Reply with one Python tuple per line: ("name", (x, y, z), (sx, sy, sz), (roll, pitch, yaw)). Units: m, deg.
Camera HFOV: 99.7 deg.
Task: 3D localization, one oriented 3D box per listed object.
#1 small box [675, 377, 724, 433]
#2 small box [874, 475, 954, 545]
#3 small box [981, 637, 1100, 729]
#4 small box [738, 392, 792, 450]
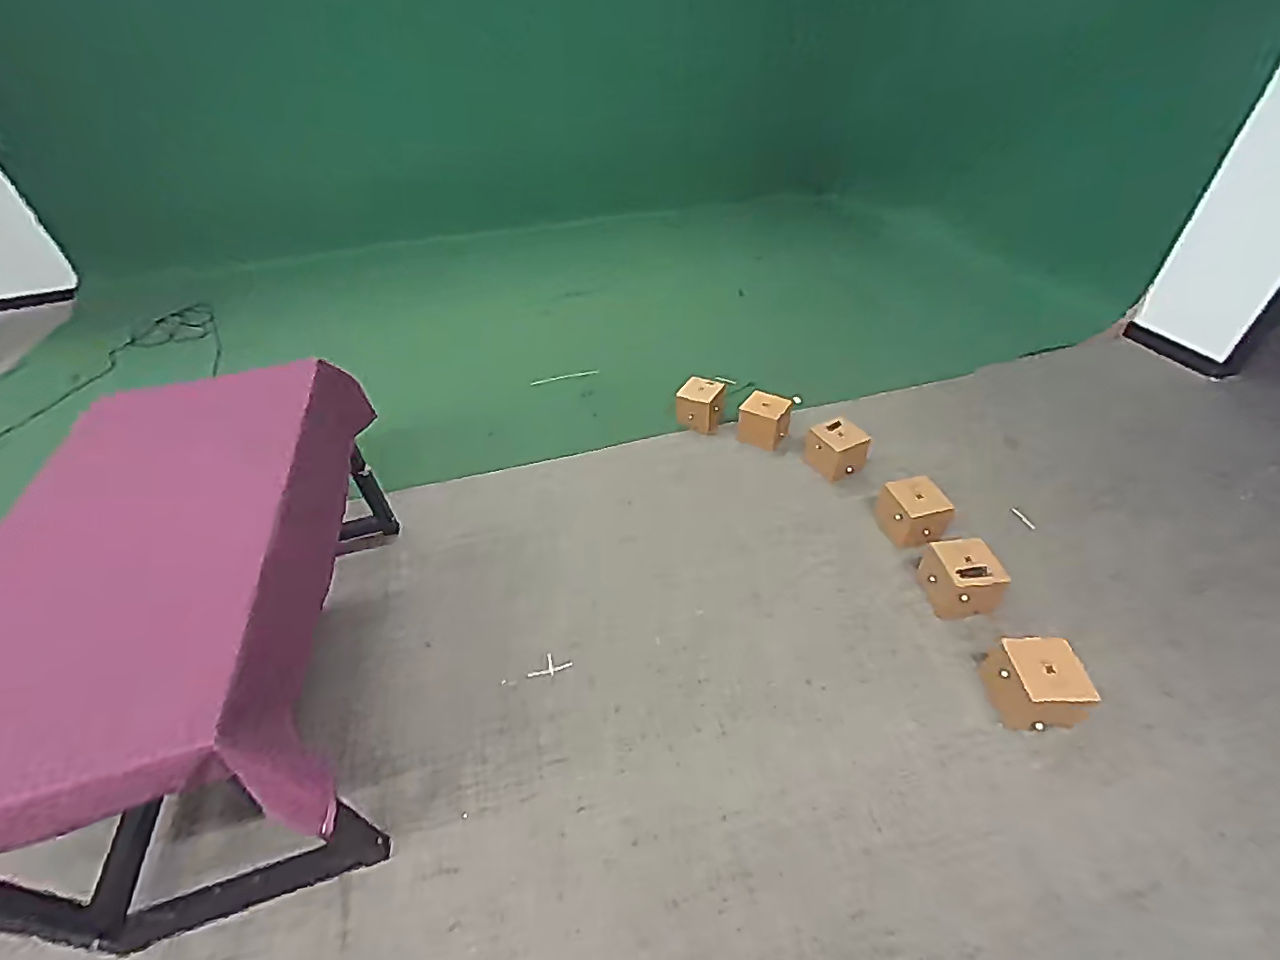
("small box", (0.274, -0.339, 2.464), (0.168, 0.176, 0.179), (19, 48, 24))
("small box", (0.955, 0.112, 1.902), (0.168, 0.176, 0.179), (-11, 43, -8))
("small box", (1.045, 0.536, 1.431), (0.168, 0.176, 0.179), (-2, 43, 5))
("small box", (0.537, -0.256, 2.352), (0.179, 0.176, 0.168), (23, 49, 27))
